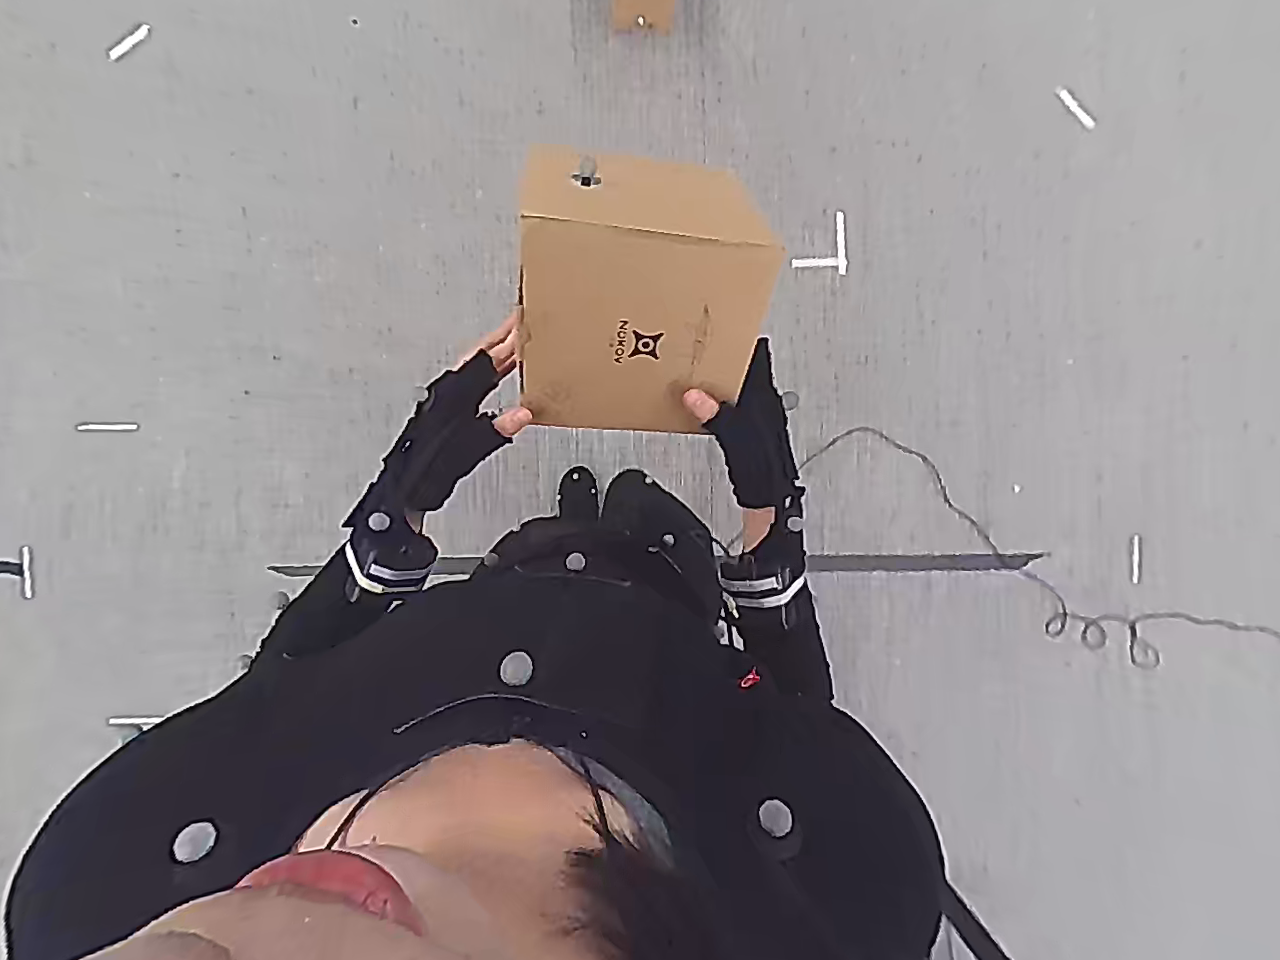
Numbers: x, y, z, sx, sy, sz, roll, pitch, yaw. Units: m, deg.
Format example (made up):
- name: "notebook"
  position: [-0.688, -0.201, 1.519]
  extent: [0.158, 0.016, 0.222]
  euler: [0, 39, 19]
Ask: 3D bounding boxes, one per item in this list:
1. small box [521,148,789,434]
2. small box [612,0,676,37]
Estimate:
- name: "small box"
  position: [-0.006, -0.158, 0.453]
  extent: [0.179, 0.176, 0.168]
  euler: [1, 136, -11]
- name: "small box"
  position: [0.011, -1.313, 1.409]
  extent: [0.168, 0.176, 0.179]
  euler: [1, 93, -2]
